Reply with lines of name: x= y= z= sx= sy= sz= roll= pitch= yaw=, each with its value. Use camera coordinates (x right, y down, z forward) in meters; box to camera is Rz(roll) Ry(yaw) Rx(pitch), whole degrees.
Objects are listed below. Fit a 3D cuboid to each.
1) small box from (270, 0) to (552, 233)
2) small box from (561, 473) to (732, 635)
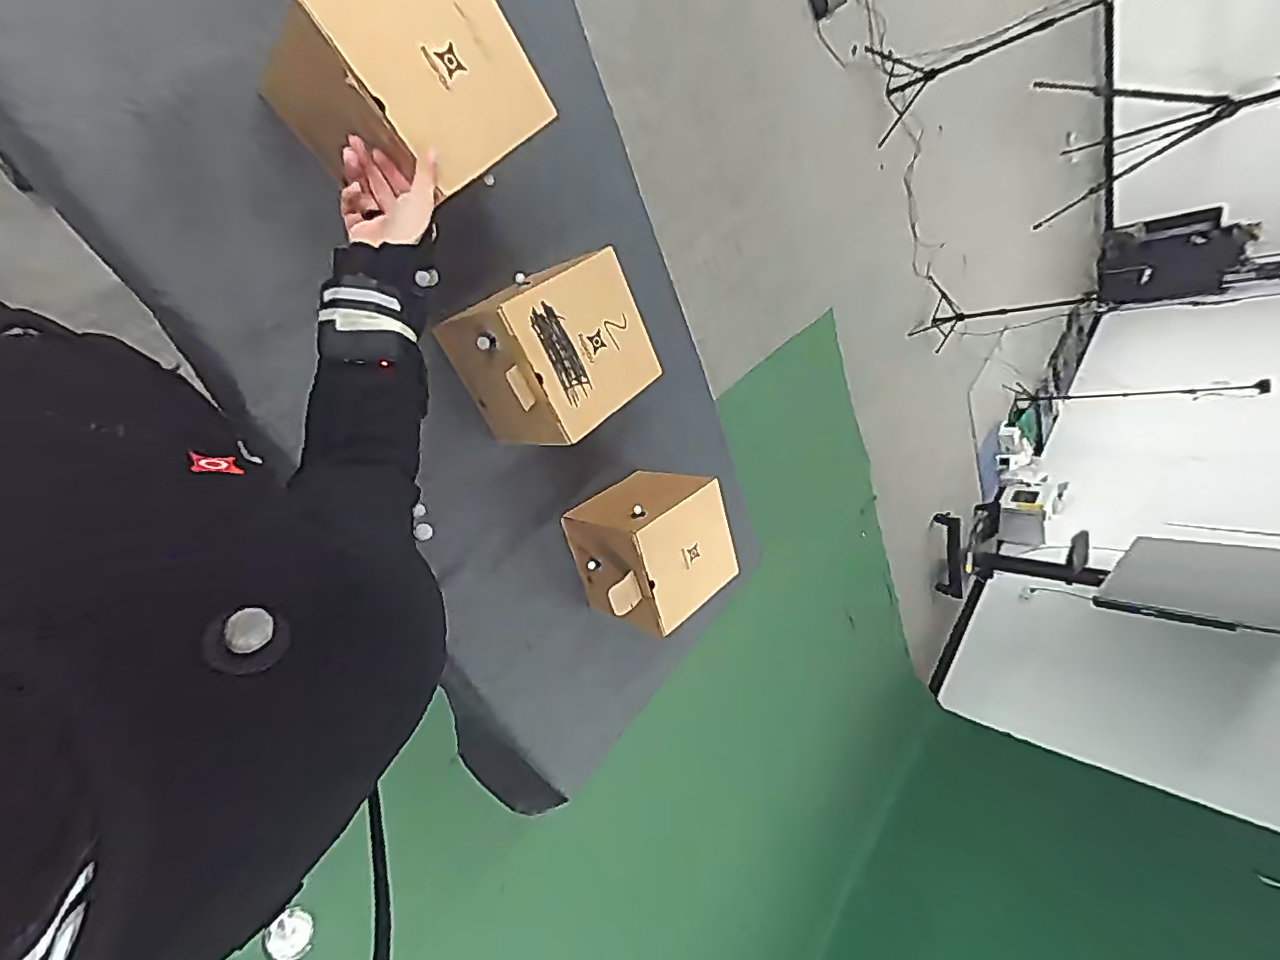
small box: x=-0.231 y=-0.379 z=0.542 sx=0.179 sy=0.176 sz=0.168 roll=-55 pitch=129 yaw=-26
small box: x=0.011 y=0.098 z=0.823 sx=0.179 sy=0.176 sz=0.168 roll=-31 pitch=115 yaw=-36
